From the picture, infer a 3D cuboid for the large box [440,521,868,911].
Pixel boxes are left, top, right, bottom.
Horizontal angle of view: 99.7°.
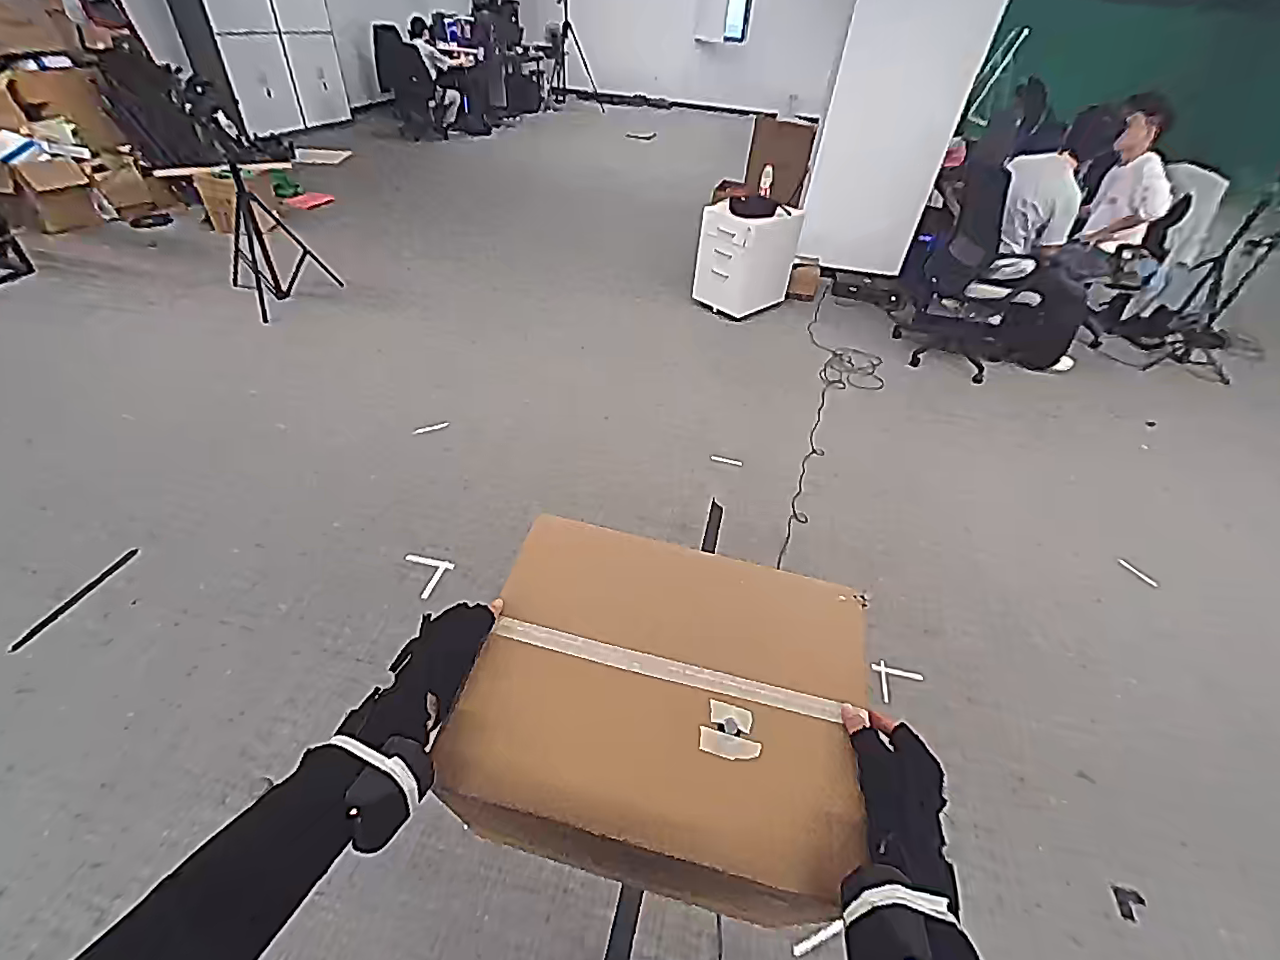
[{"bbox_3d":[0.022,0.300,0.691,0.408,0.320,0.320,13,49,5],"label":"large box"}]
